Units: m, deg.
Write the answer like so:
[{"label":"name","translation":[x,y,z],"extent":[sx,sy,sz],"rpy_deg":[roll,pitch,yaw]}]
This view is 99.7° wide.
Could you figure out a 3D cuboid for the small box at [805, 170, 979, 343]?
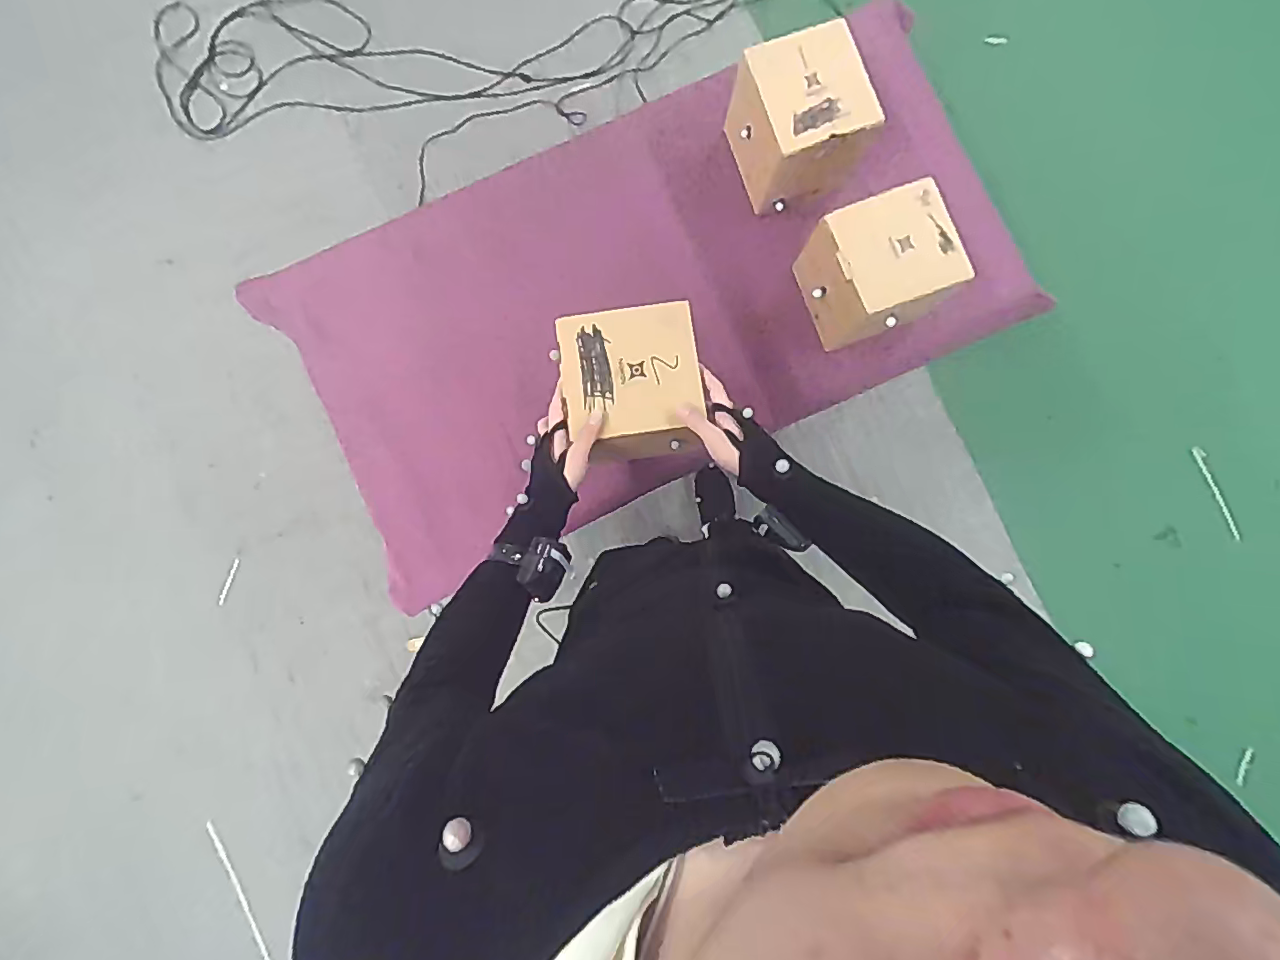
[{"label":"small box","translation":[0.378,-0.339,0.855],"extent":[0.179,0.176,0.168],"rpy_deg":[-20,86,-1]}]

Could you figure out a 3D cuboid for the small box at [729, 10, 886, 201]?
[{"label":"small box","translation":[0.257,-0.582,0.870],"extent":[0.168,0.176,0.179],"rpy_deg":[-19,86,-2]}]
